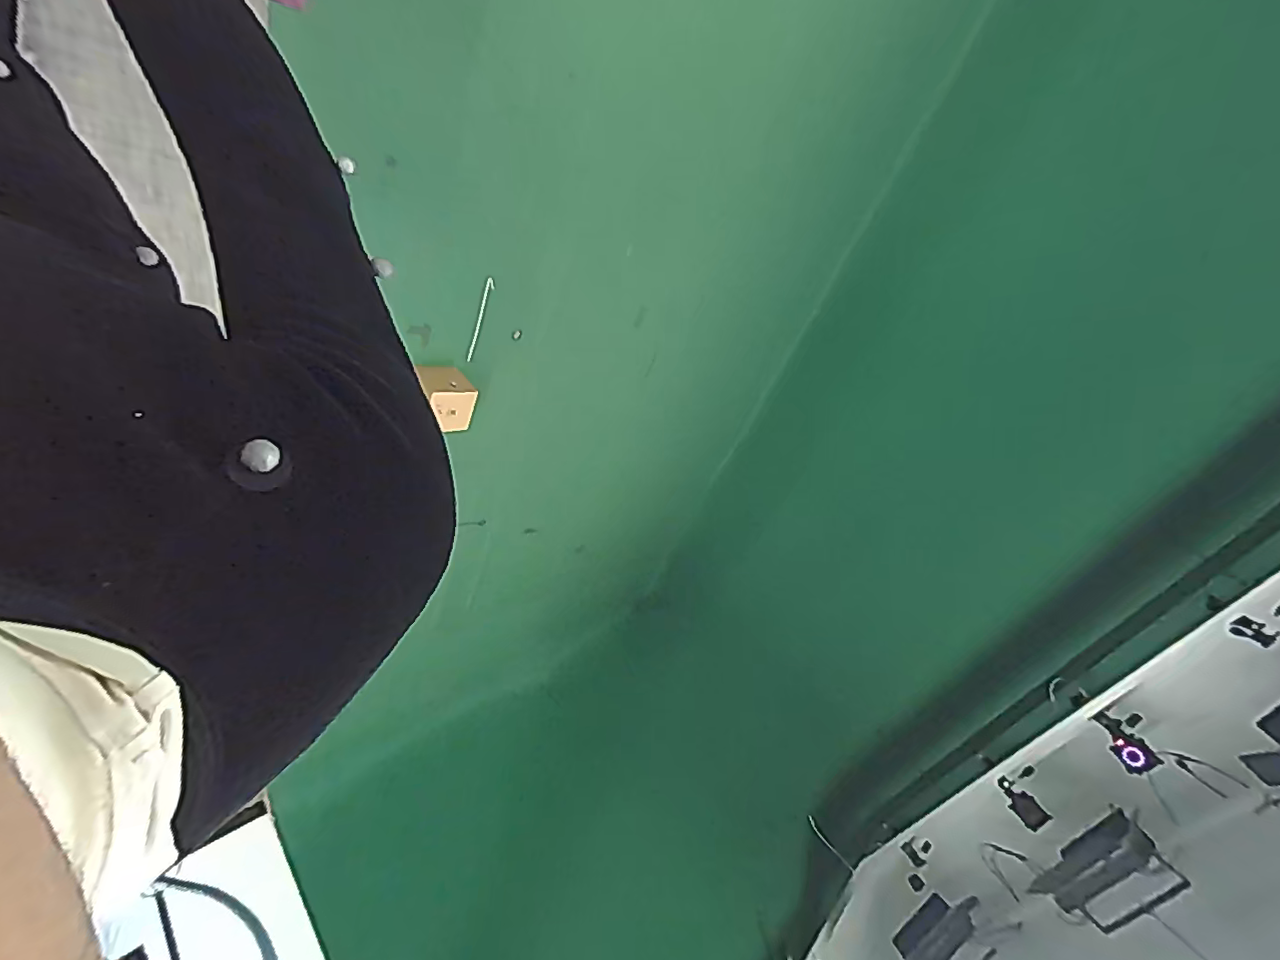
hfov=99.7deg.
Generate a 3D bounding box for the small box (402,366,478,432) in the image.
[{"bbox_3d":[-0.705,-0.288,1.900,0.179,0.176,0.168,-11,137,-48],"label":"small box"}]
